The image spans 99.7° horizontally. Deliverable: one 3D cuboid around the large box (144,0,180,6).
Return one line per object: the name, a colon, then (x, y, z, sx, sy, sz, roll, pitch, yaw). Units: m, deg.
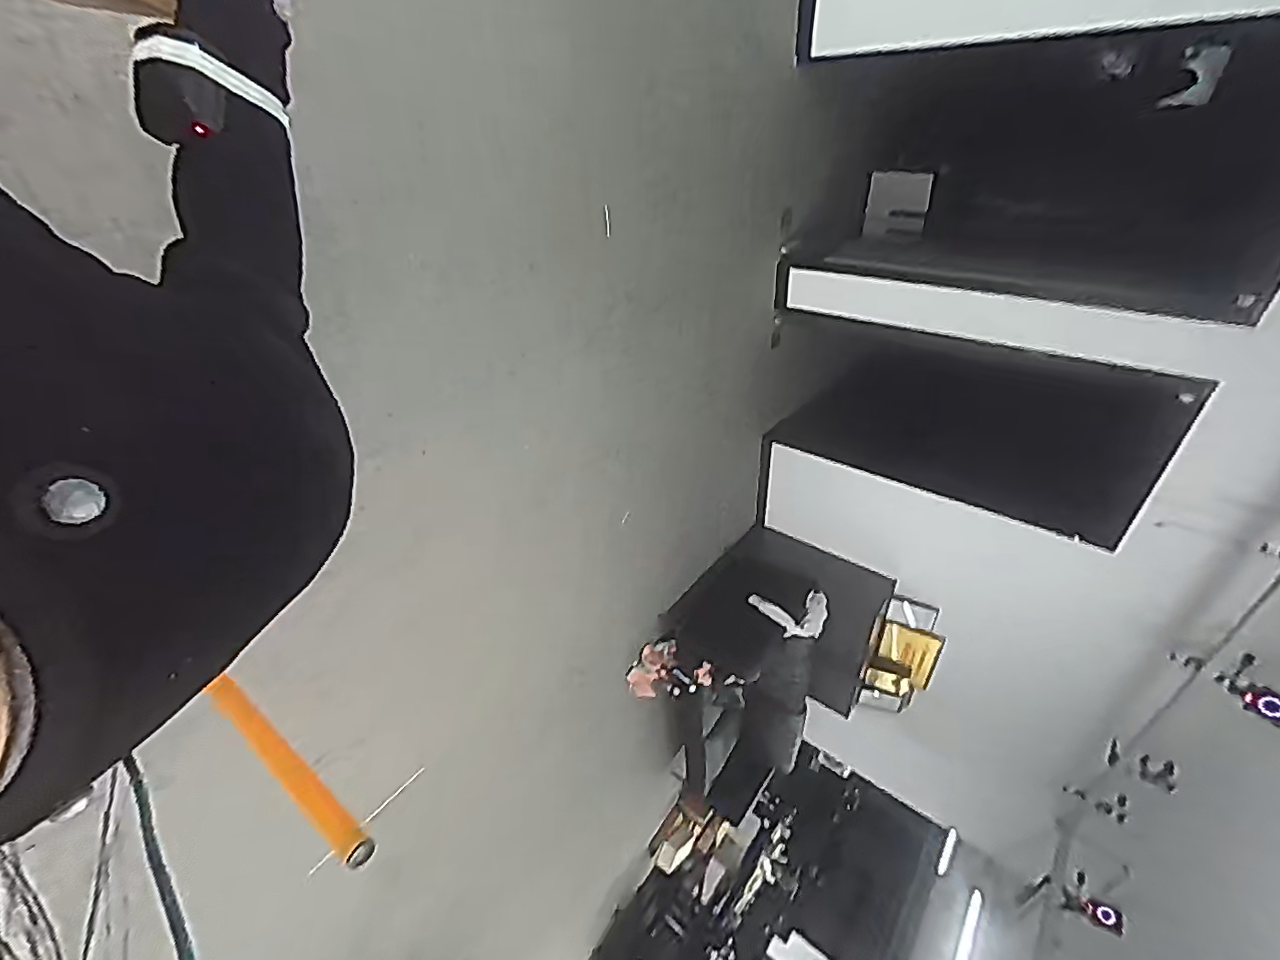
large box: (-0.535, -0.522, 0.262, 0.408, 0.320, 0.320, -18, 131, -54)
